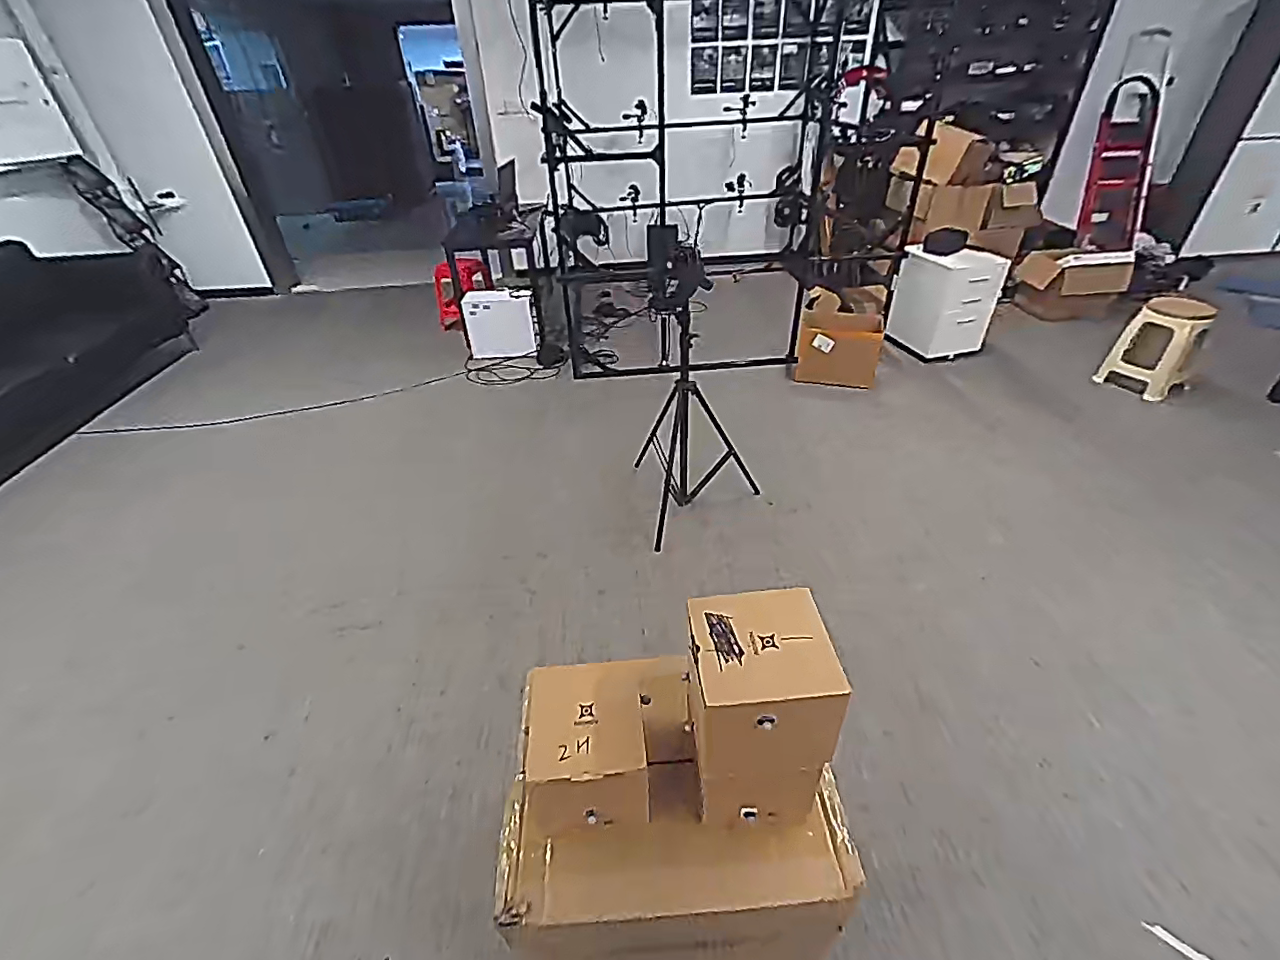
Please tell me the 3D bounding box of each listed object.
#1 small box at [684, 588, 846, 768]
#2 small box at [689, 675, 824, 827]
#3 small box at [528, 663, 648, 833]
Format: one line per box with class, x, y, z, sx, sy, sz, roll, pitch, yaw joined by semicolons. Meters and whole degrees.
small box;0.159;0.273;0.743;0.179;0.176;0.168;-5;37;-1
small box;0.168;0.405;0.841;0.168;0.176;0.179;-6;38;-1
small box;-0.076;0.414;0.843;0.168;0.176;0.179;-4;37;-3
